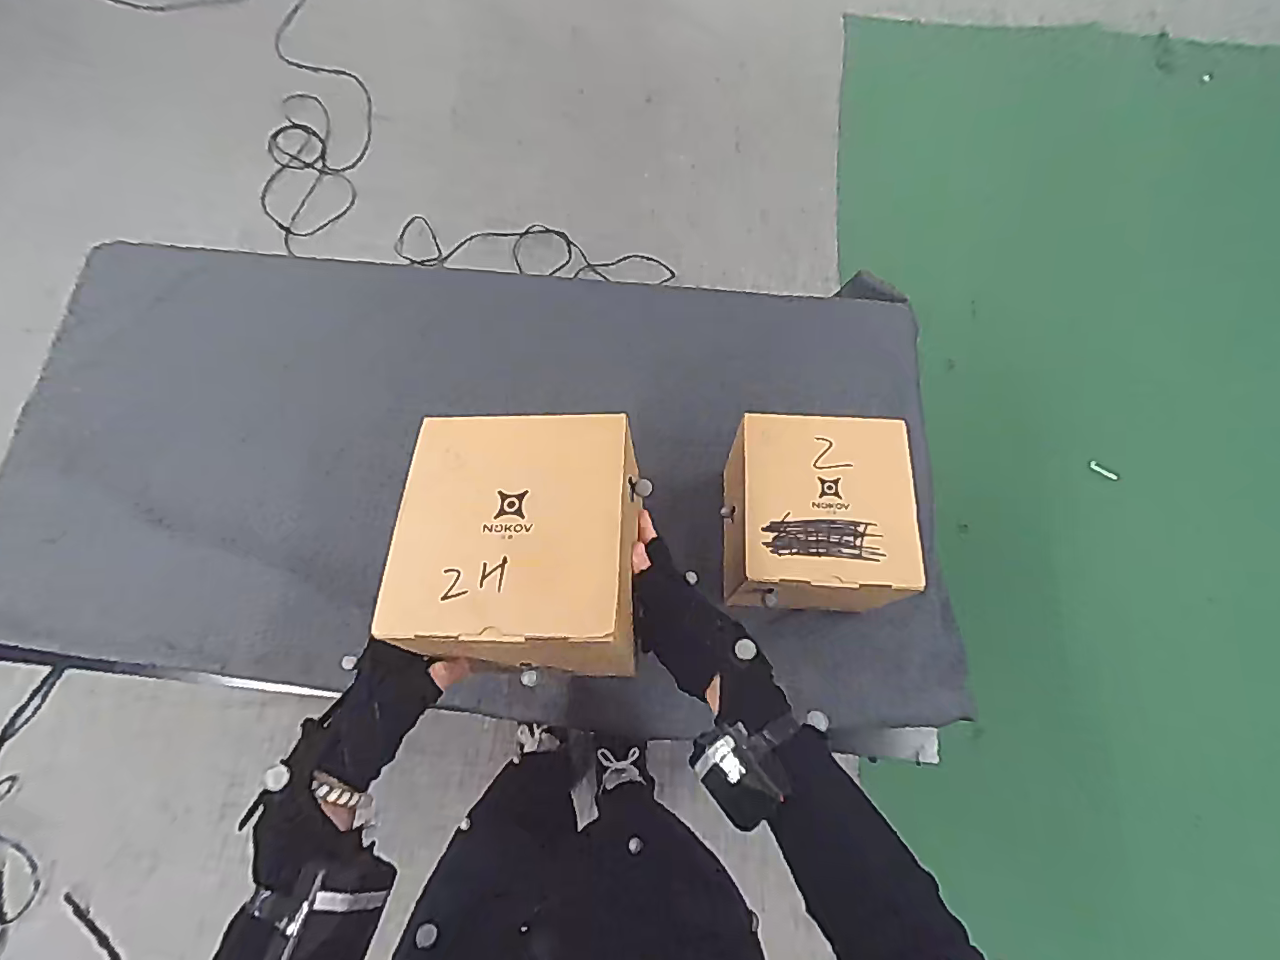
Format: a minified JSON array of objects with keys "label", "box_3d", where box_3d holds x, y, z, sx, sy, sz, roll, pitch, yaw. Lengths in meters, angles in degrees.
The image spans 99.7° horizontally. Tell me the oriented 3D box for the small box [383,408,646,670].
[{"label":"small box","box_3d":[-0.083,0.056,0.464,0.168,0.176,0.179,0,63,5]}]
